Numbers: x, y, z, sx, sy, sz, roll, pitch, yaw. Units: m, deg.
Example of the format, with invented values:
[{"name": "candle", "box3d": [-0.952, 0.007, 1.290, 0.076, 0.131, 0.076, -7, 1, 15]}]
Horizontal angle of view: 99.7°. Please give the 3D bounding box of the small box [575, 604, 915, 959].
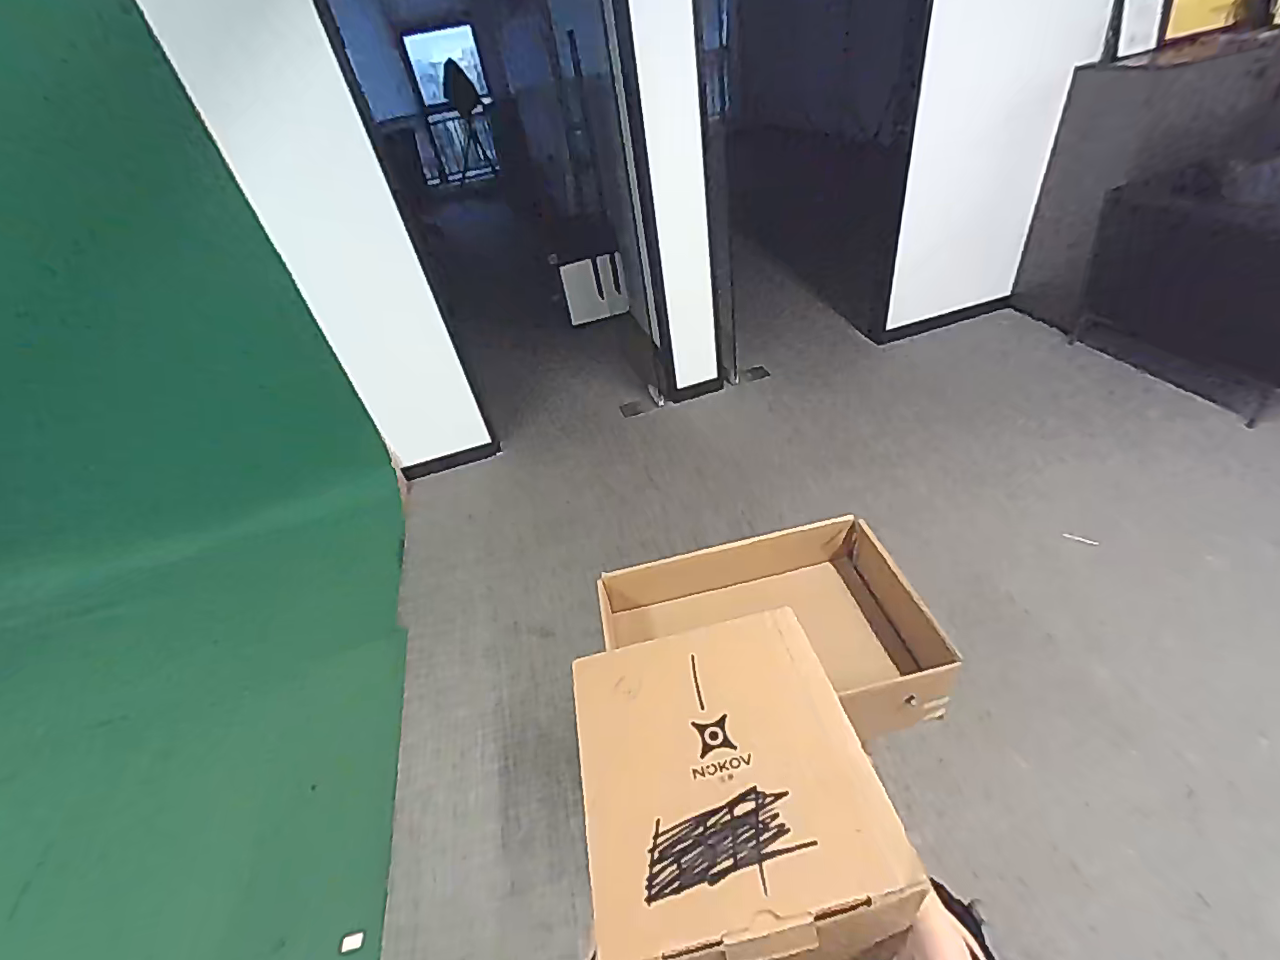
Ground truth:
[{"name": "small box", "box3d": [0.058, 0.222, 0.377, 0.168, 0.176, 0.179, -13, 38, -2]}]
